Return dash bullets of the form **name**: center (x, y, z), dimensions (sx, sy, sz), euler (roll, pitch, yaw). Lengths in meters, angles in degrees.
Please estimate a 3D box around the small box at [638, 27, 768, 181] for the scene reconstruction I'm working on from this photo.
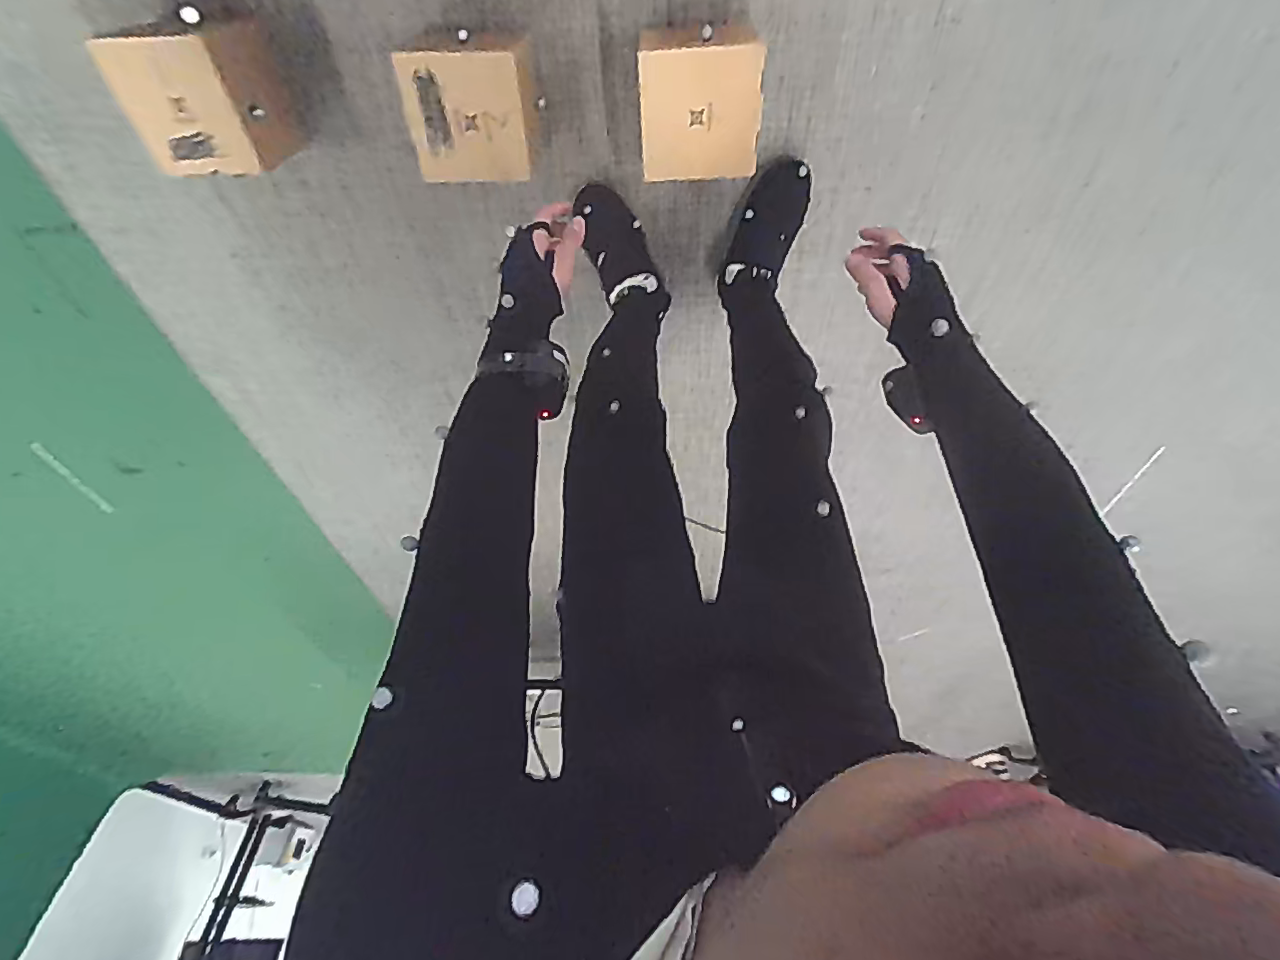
- **small box**: center (0.090, -0.580, 0.835), dimensions (0.179, 0.176, 0.168), euler (-2, 137, 3)

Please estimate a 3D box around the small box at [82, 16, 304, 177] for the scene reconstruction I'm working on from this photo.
- **small box**: center (-0.667, -0.595, 0.840), dimensions (0.168, 0.176, 0.179), euler (0, 136, 1)
